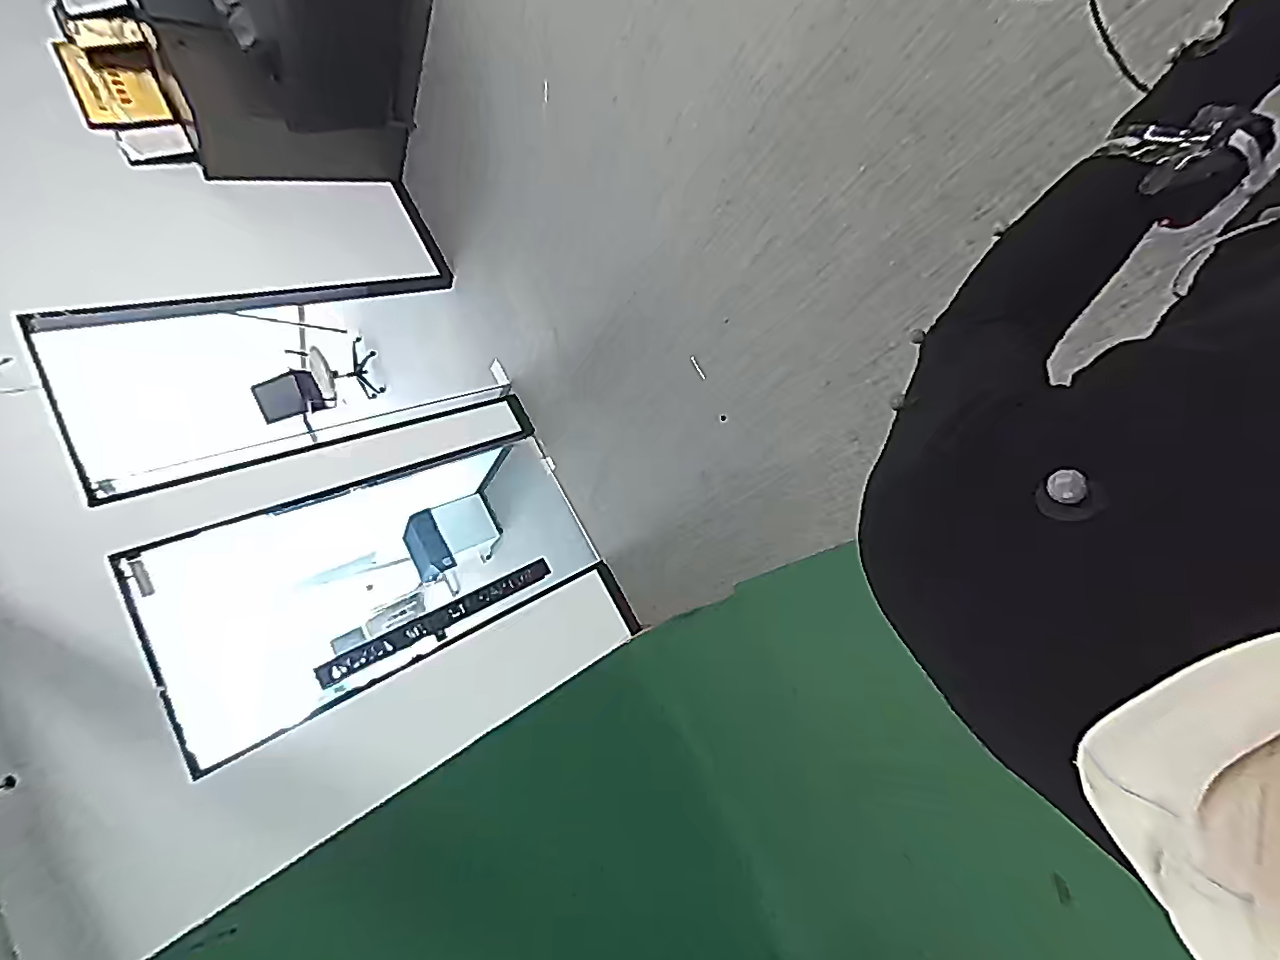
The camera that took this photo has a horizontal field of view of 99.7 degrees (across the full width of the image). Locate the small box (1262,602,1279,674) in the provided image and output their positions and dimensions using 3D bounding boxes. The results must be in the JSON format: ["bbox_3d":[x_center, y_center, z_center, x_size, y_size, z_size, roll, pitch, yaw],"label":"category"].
[{"bbox_3d":[1.259,0.315,0.952,0.168,0.176,0.179,-35,81,54],"label":"small box"}]
